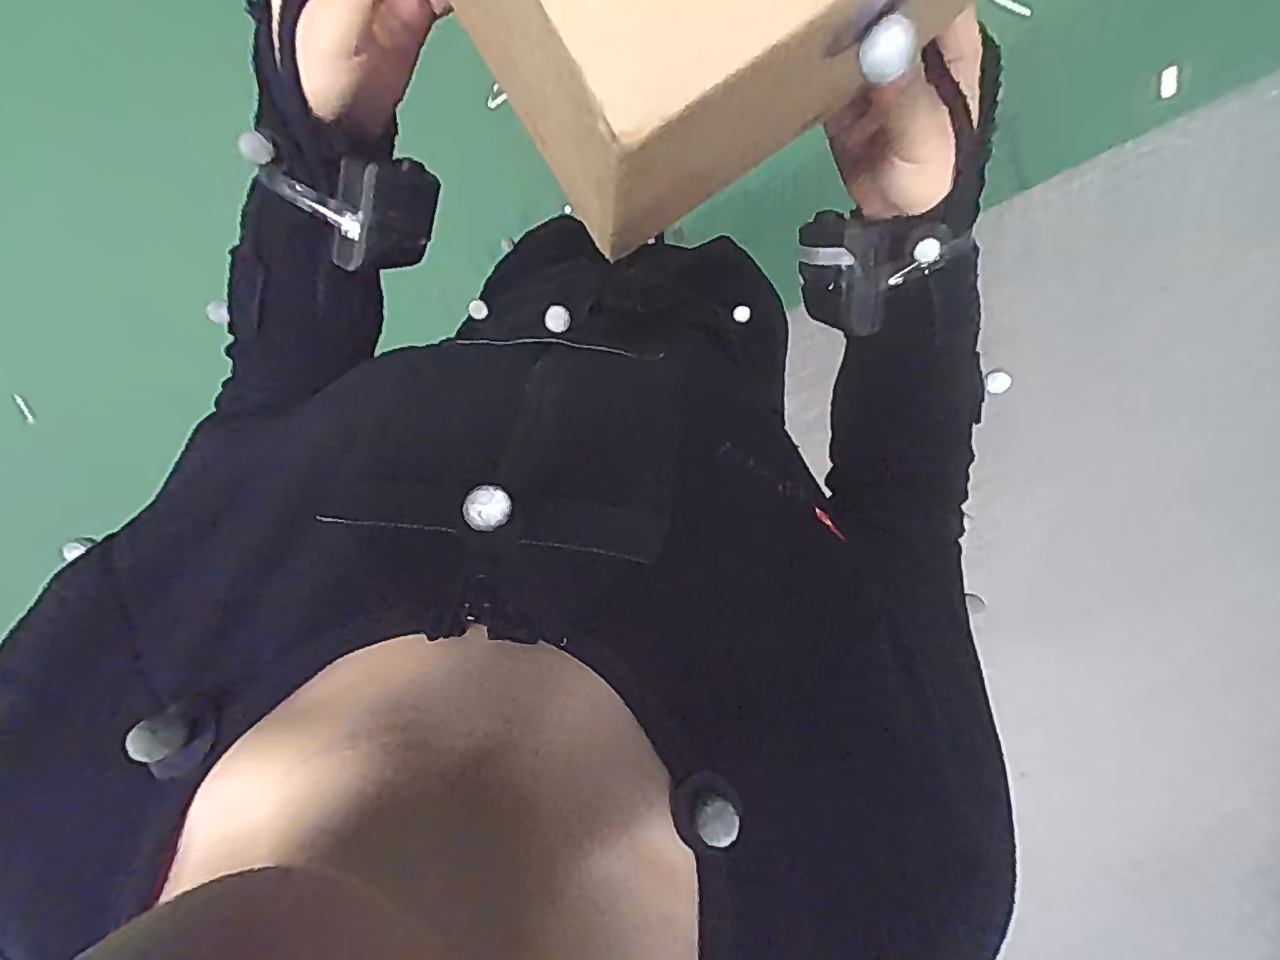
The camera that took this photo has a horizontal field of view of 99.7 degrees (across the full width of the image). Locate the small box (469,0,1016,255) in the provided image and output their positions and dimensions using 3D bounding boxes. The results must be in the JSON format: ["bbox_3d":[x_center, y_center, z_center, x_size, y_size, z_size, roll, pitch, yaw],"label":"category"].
[{"bbox_3d":[0.023,-0.195,0.161,0.168,0.176,0.179,-32,105,5],"label":"small box"}]
